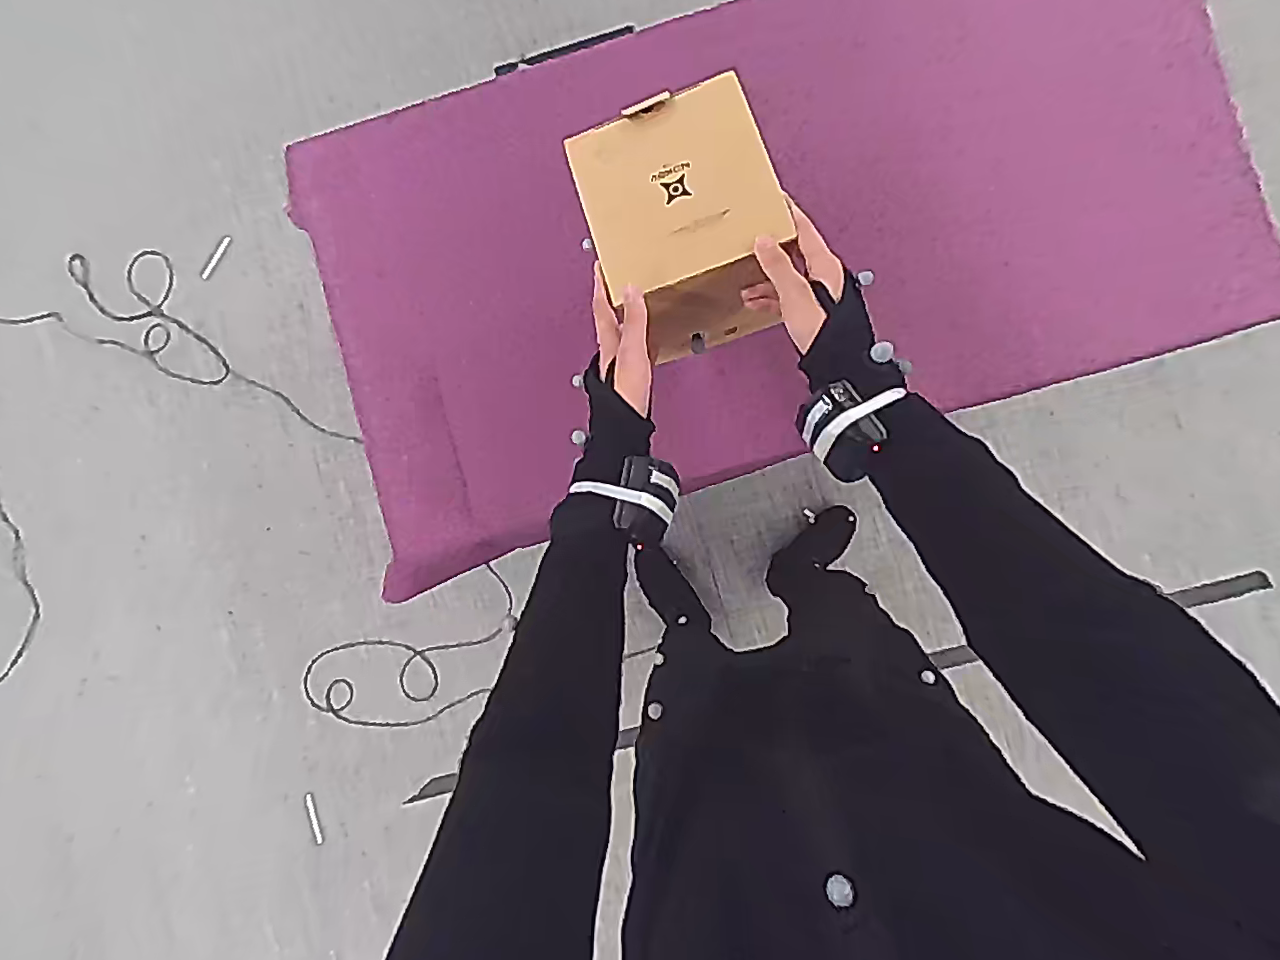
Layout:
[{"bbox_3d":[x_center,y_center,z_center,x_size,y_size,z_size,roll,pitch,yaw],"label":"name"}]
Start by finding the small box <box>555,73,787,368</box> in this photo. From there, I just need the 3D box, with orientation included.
[{"bbox_3d":[0.034,-0.239,0.541,0.168,0.176,0.179,-18,79,7],"label":"small box"}]
